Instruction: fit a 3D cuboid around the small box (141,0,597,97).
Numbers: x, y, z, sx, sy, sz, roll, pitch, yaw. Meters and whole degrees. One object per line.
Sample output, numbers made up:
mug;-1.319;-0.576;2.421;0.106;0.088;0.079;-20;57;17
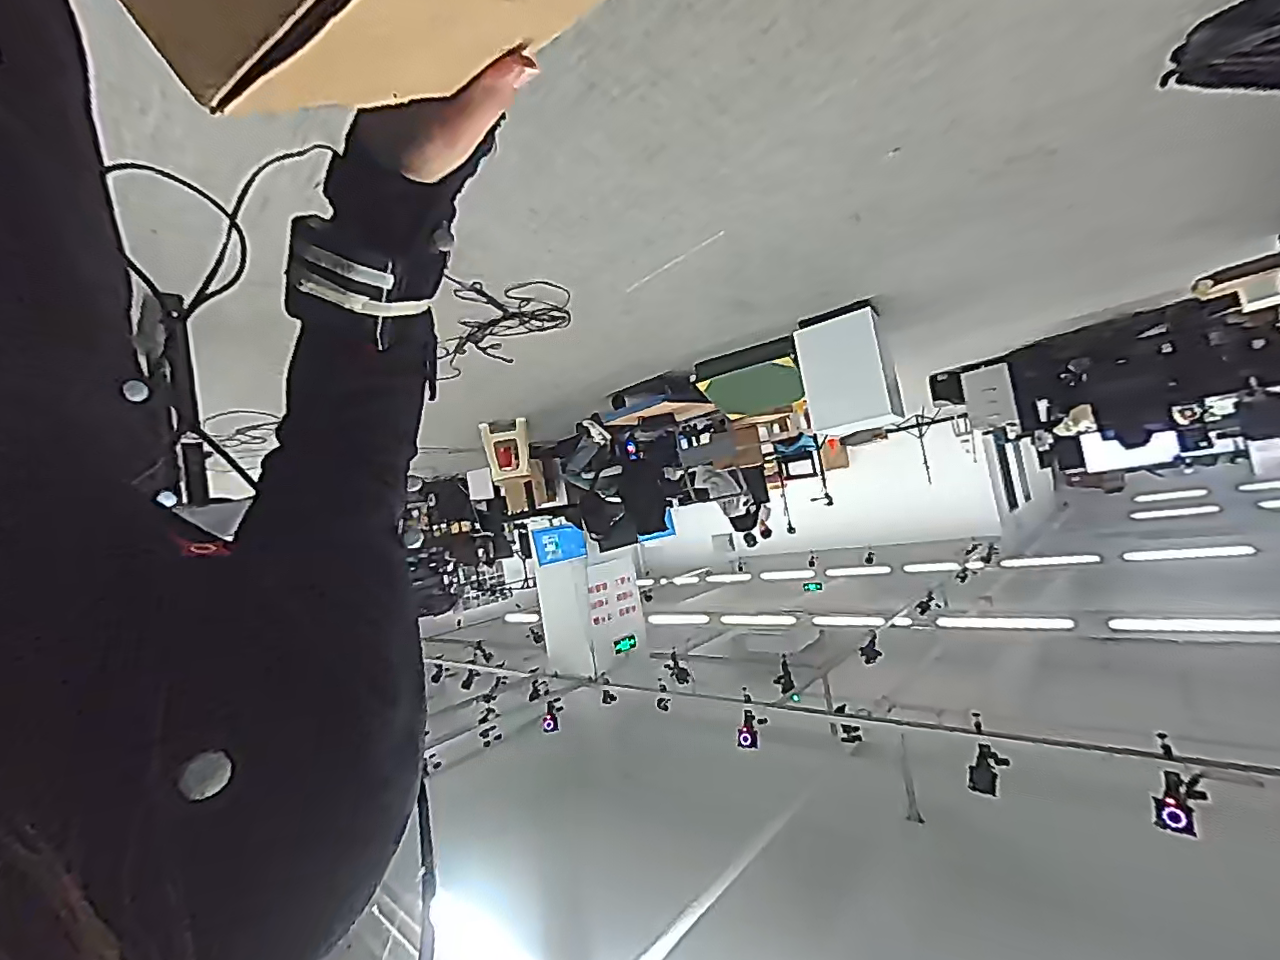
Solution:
small box;-0.069;-0.244;0.148;0.179;0.176;0.168;-15;-148;26
